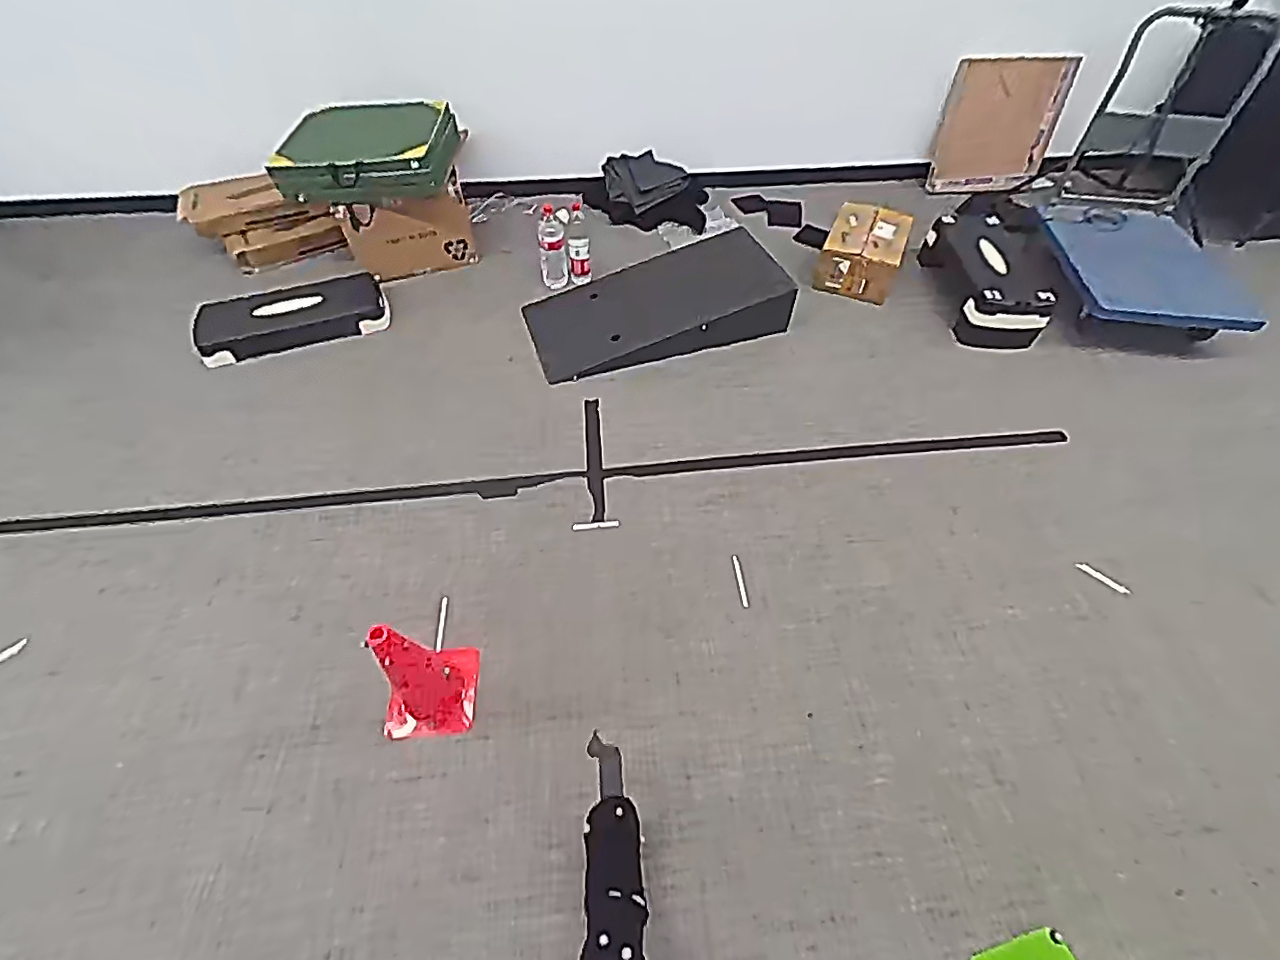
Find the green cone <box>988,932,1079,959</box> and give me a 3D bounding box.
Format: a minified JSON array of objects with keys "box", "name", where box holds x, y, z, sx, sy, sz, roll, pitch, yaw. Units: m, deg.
[{"box":[0.730,0.844,0.811,0.200,0.368,0.202,-13,55,-10],"name":"green cone"}]
